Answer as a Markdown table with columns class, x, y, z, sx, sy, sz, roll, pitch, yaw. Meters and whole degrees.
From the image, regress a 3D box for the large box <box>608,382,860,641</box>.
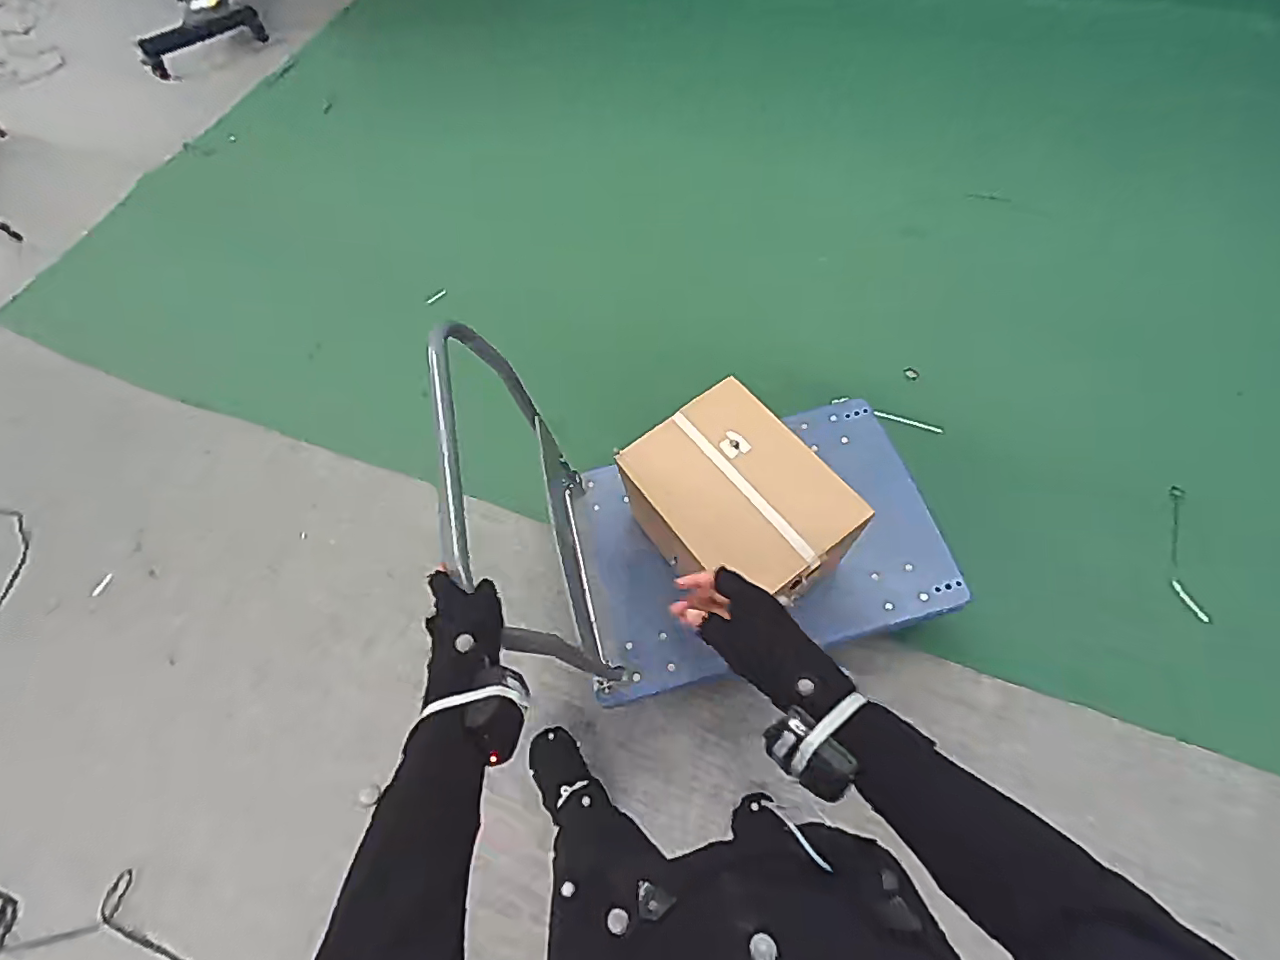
| class | x | y | z | sx | sy | sz | roll | pitch | yaw |
| --- | --- | --- | --- | --- | --- | --- | --- | --- | --- |
| large box | 0.190 | 0.076 | 1.179 | 0.320 | 0.320 | 0.408 | -35 | 64 | -11 |
